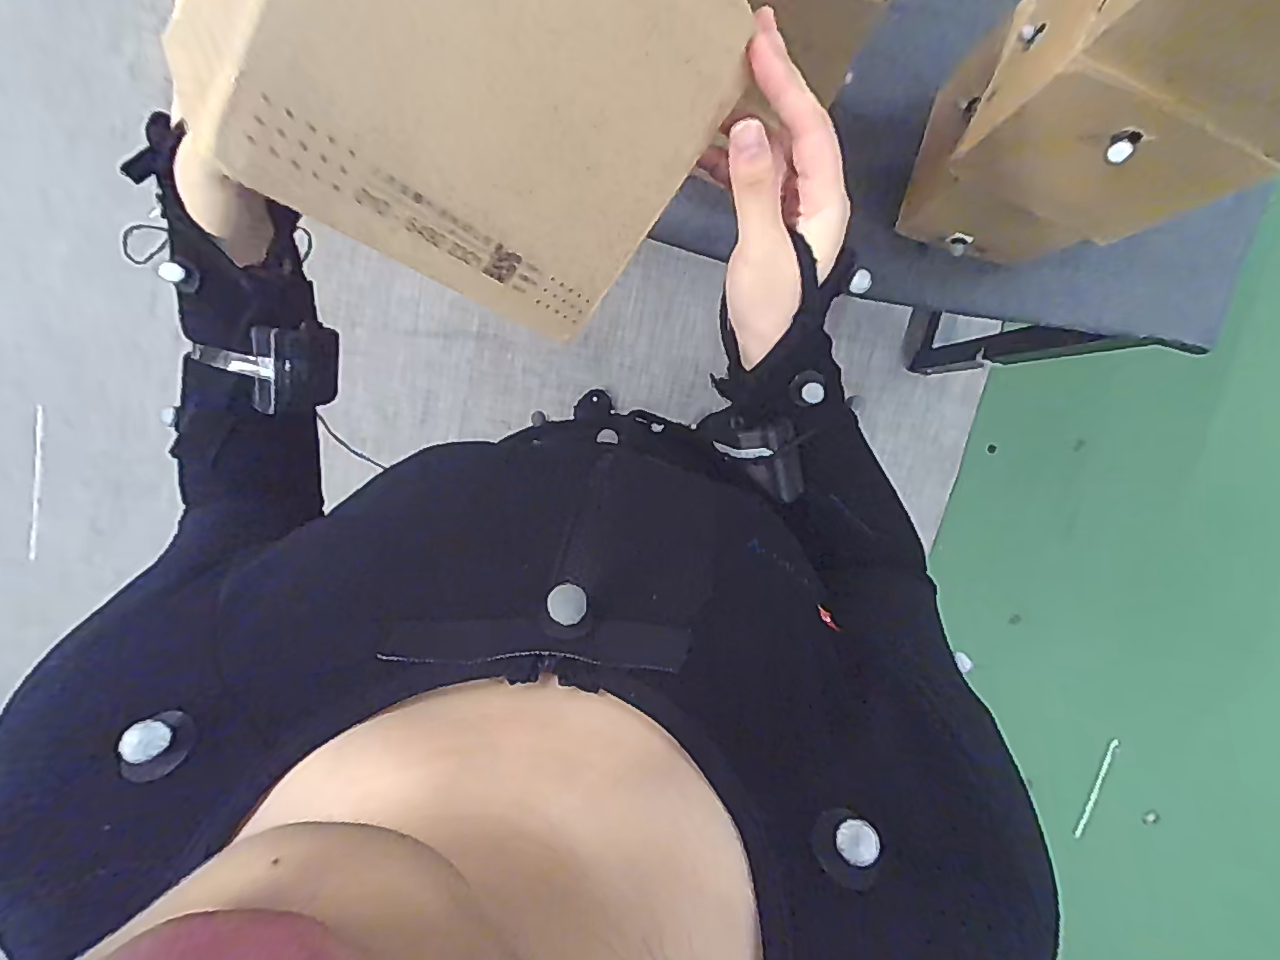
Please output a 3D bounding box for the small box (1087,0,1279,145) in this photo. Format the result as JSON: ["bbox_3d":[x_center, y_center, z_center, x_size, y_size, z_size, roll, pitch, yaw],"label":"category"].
[{"bbox_3d":[0.404,-0.314,0.277,0.179,0.176,0.168,28,97,0],"label":"small box"}]

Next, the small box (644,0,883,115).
[{"bbox_3d":[0.107,-0.436,0.437,0.179,0.176,0.168,15,97,1],"label":"small box"}]

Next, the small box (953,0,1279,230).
[{"bbox_3d":[0.408,-0.332,0.441,0.179,0.176,0.168,26,97,0],"label":"small box"}]

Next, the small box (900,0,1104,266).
[{"bbox_3d":[0.419,-0.364,0.600,0.168,0.176,0.179,15,98,1],"label":"small box"}]
